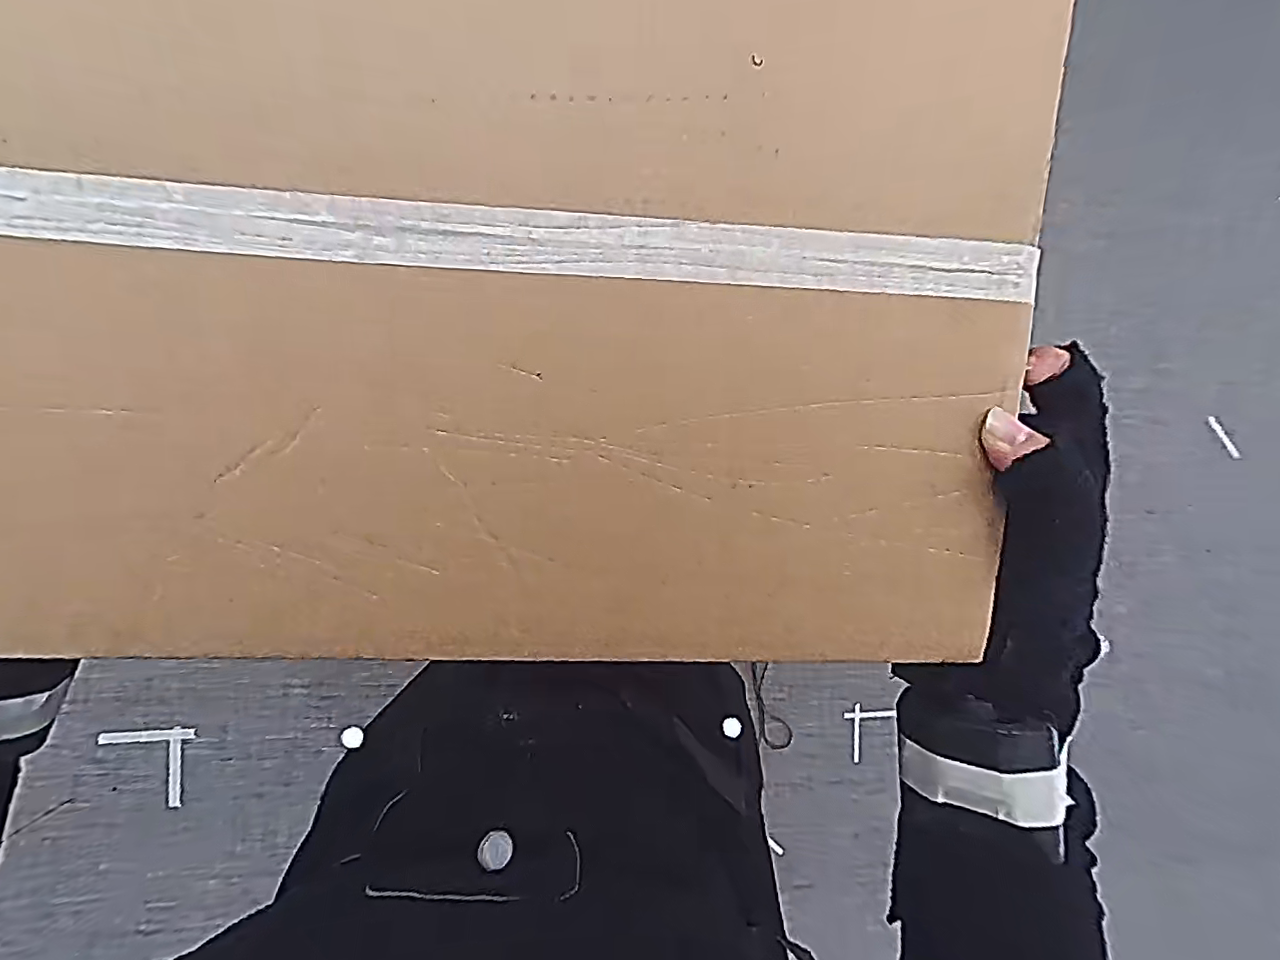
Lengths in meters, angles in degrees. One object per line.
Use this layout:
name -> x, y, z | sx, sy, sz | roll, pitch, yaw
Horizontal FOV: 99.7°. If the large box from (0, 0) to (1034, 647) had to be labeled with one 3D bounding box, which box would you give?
large box -> -0.064, -0.105, 0.350 | 0.408, 0.320, 0.320 | 2, 97, -5
